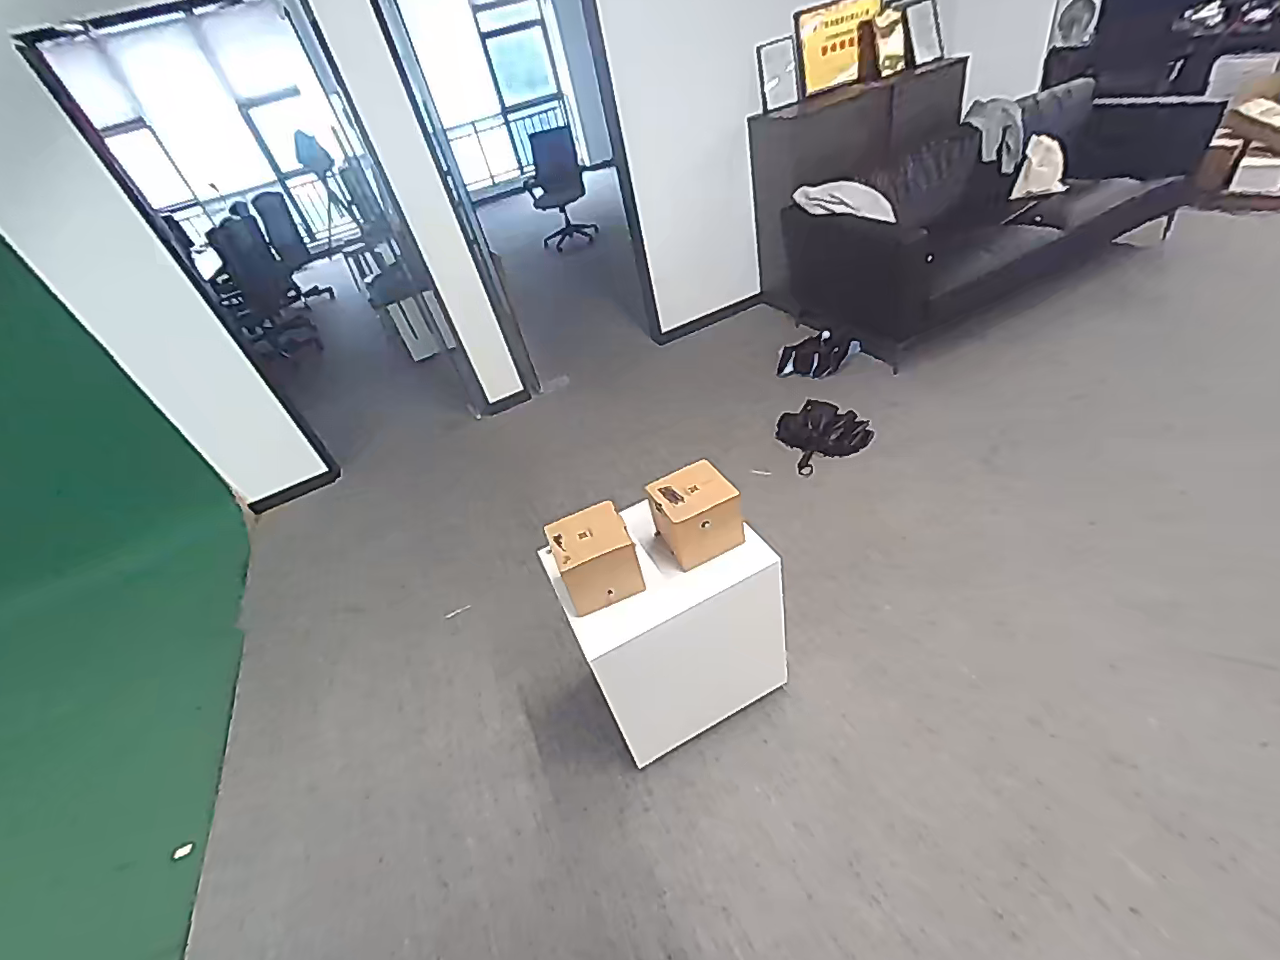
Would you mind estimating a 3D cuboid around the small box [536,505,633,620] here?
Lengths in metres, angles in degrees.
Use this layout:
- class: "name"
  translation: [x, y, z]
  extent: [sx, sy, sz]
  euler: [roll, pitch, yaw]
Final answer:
- class: "small box"
  translation: [-0.123, 0.192, 1.261]
  extent: [0.179, 0.176, 0.168]
  euler: [-20, 38, -12]

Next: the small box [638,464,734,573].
- class: "small box"
  translation: [0.117, 0.095, 1.318]
  extent: [0.179, 0.176, 0.168]
  euler: [-23, 40, -15]
